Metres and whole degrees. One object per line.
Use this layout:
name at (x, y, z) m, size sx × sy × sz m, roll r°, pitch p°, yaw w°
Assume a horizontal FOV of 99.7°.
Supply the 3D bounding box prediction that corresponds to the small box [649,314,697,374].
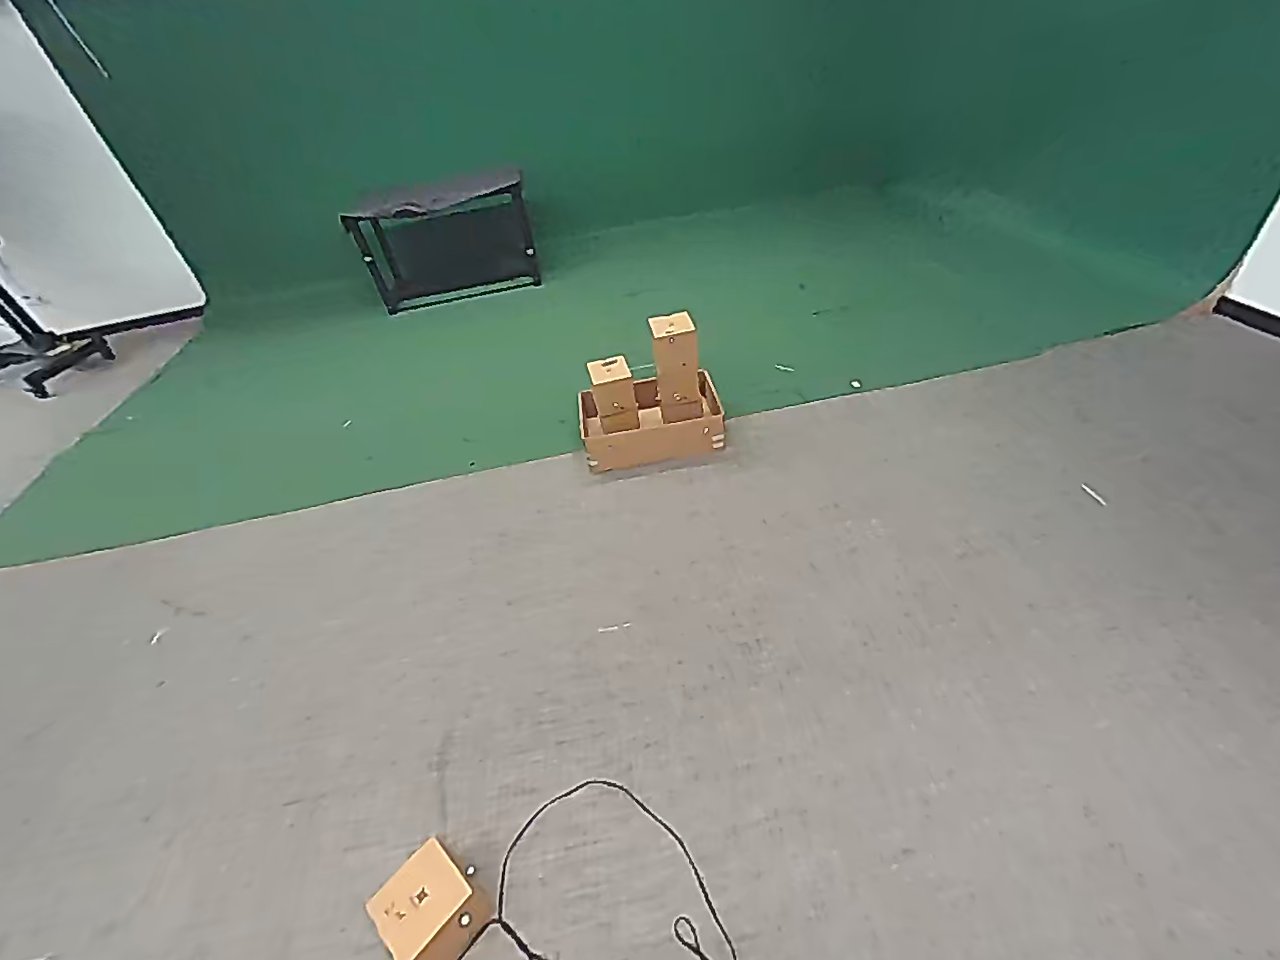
small box at (0.136, -0.558, 2.228) m, size 0.168 × 0.176 × 0.179 m, roll -12°, pitch 41°, yaw -1°

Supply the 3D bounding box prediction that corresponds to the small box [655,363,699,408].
small box at (0.159, -0.437, 2.337) m, size 0.168 × 0.176 × 0.179 m, roll -10°, pitch 43°, yaw 2°

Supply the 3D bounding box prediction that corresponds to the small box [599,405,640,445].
small box at (-0.099, -0.285, 2.466) m, size 0.168 × 0.176 × 0.179 m, roll -12°, pitch 42°, yaw -4°

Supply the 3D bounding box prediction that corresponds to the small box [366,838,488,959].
small box at (-0.457, 0.948, 1.192) m, size 0.168 × 0.176 × 0.179 m, roll 26°, pitch 52°, yaw 36°

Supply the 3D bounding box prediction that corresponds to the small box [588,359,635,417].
small box at (-0.124, -0.398, 2.348) m, size 0.168 × 0.176 × 0.179 m, roll -14°, pitch 43°, yaw -6°
